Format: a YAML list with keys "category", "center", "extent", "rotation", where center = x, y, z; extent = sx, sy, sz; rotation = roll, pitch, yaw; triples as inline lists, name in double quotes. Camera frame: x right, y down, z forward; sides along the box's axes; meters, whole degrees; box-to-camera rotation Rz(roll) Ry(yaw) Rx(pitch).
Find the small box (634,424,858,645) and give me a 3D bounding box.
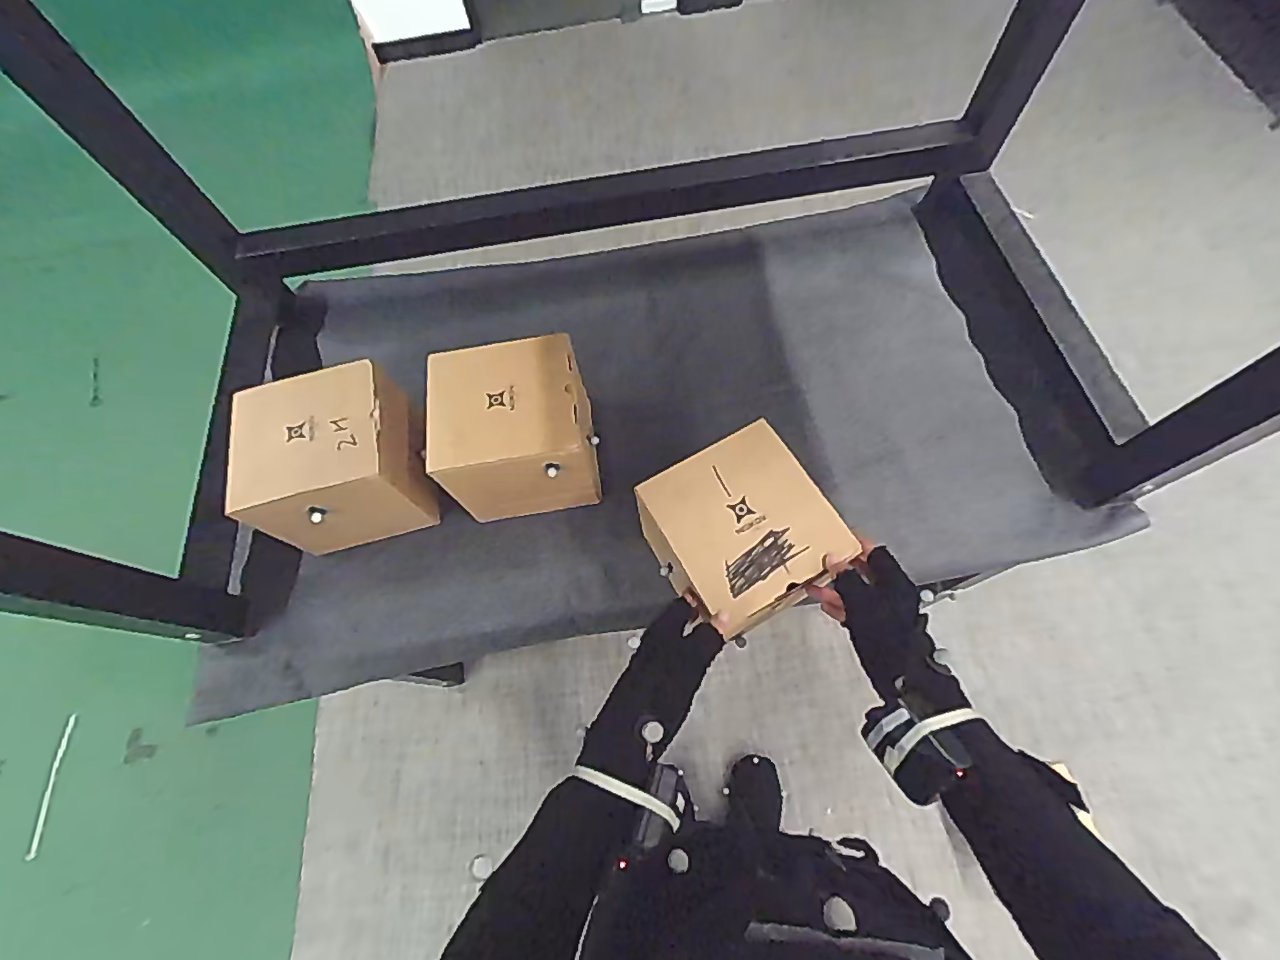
- category: "small box"
  center: [0.109, 0.074, 0.619]
  extent: [0.168, 0.176, 0.179]
  rotation: [-27, 67, -8]
